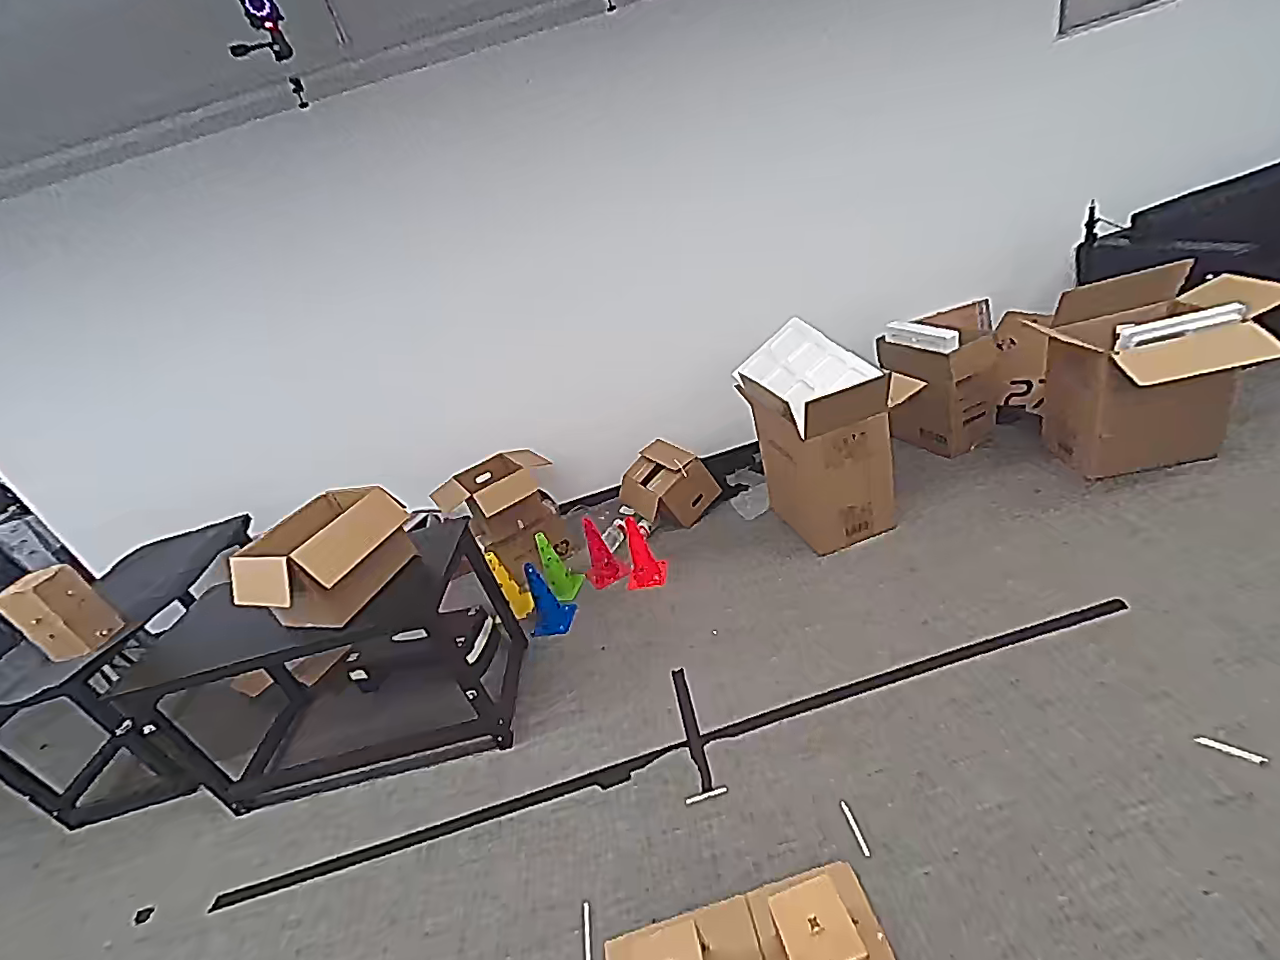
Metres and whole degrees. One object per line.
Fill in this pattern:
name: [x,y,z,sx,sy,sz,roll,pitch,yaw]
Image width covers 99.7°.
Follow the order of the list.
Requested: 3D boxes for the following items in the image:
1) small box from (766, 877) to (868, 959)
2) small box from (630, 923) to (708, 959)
small box: [0.415,1.089,1.260,0.168,0.176,0.179,-20,27,-5]
small box: [0.086,1.190,1.252,0.168,0.176,0.179,-19,27,-1]
